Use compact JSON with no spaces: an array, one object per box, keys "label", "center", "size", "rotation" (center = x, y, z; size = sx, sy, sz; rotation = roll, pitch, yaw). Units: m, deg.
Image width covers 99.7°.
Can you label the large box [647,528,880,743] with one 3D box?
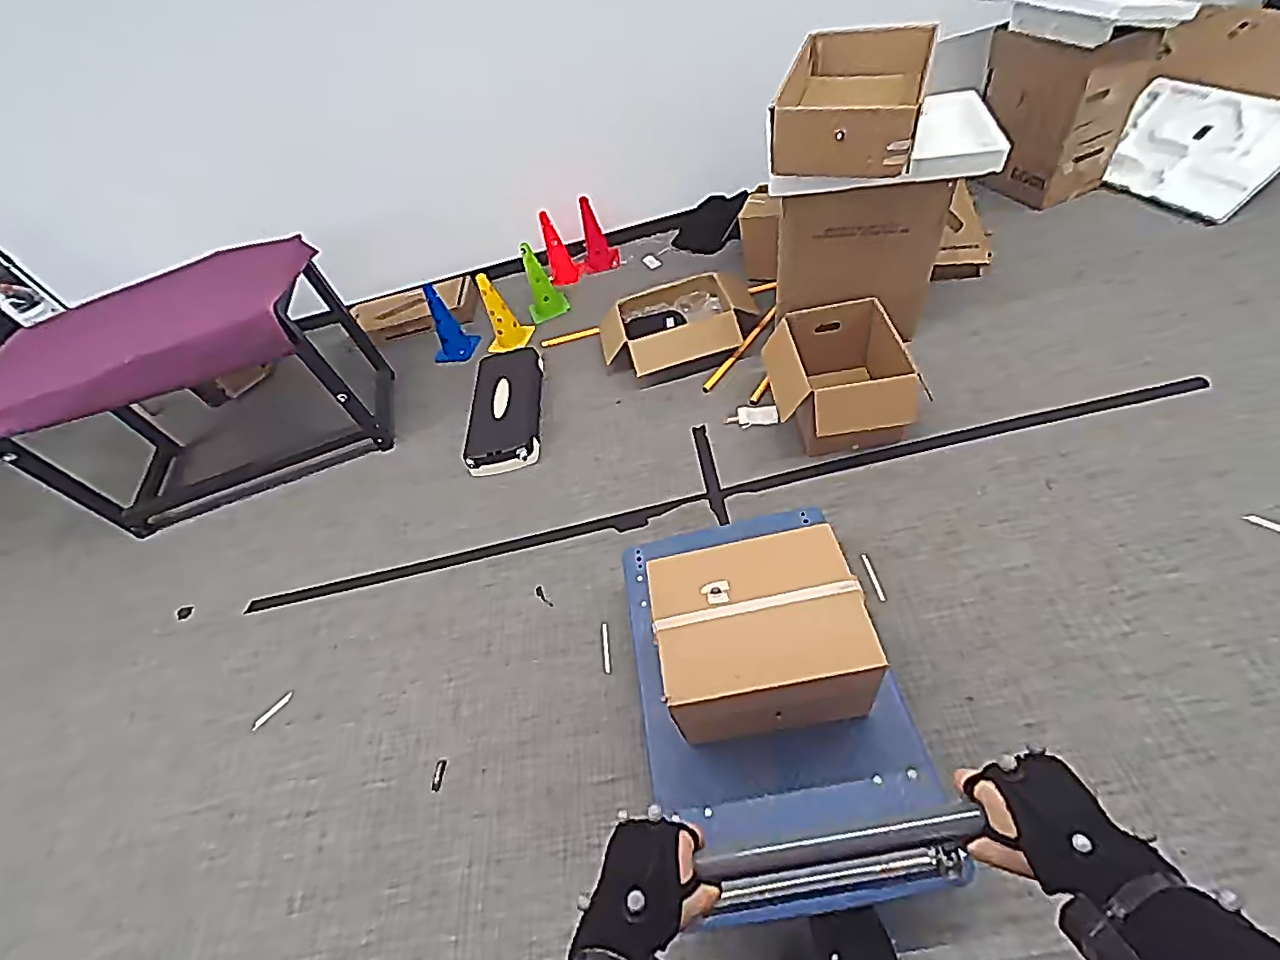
[{"label":"large box","center":[0.260,0.354,1.203],"size":[0.408,0.320,0.320],"rotation":[-14,49,5]}]
